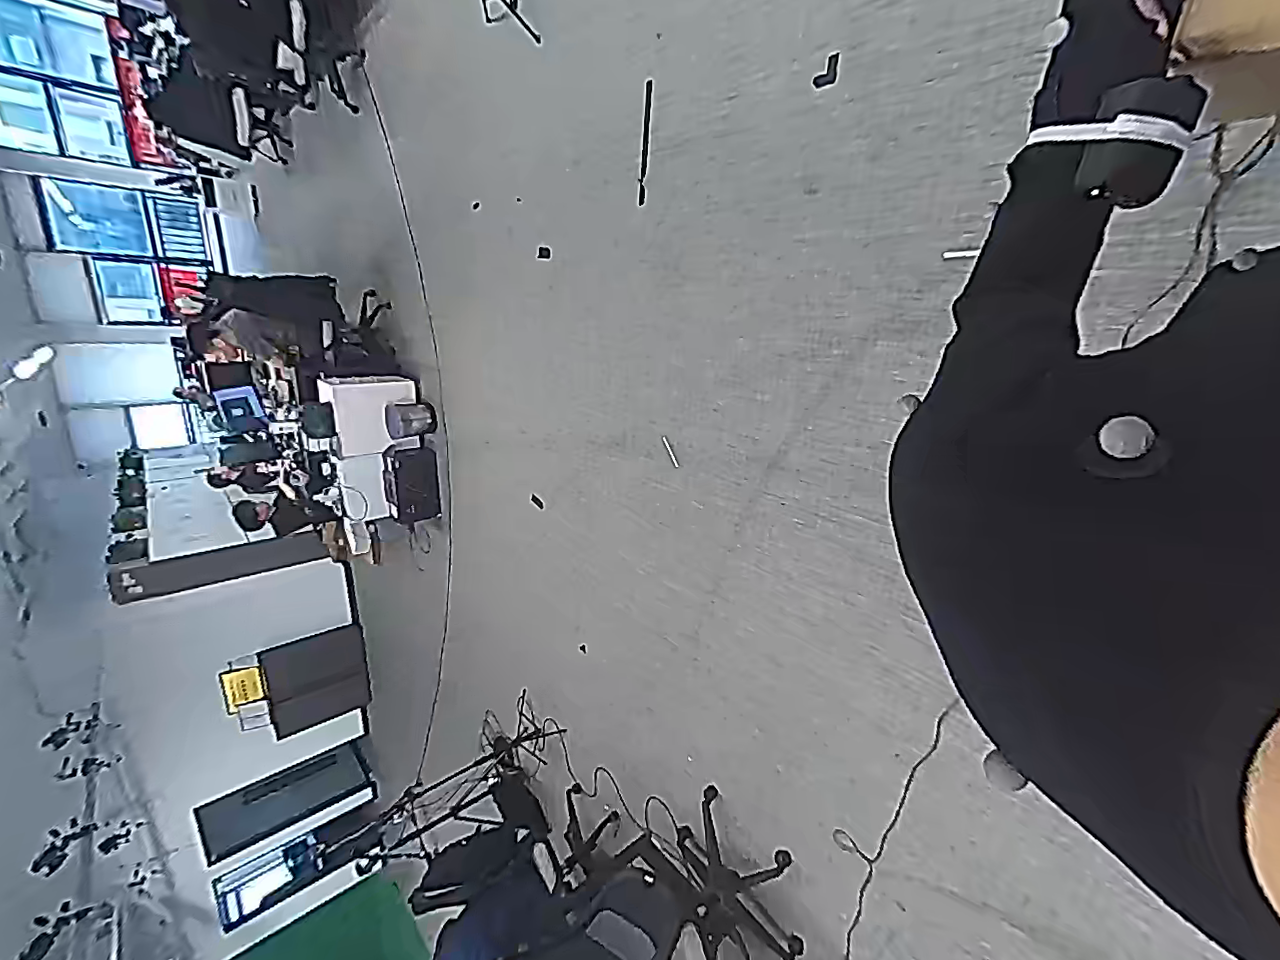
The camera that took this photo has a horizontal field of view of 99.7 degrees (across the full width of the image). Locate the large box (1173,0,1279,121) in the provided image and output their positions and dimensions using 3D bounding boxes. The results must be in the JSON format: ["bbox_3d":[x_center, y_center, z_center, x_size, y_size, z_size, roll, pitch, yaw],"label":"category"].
[{"bbox_3d":[0.586,-0.407,0.262,0.408,0.320,0.320,21,123,41],"label":"large box"}]
